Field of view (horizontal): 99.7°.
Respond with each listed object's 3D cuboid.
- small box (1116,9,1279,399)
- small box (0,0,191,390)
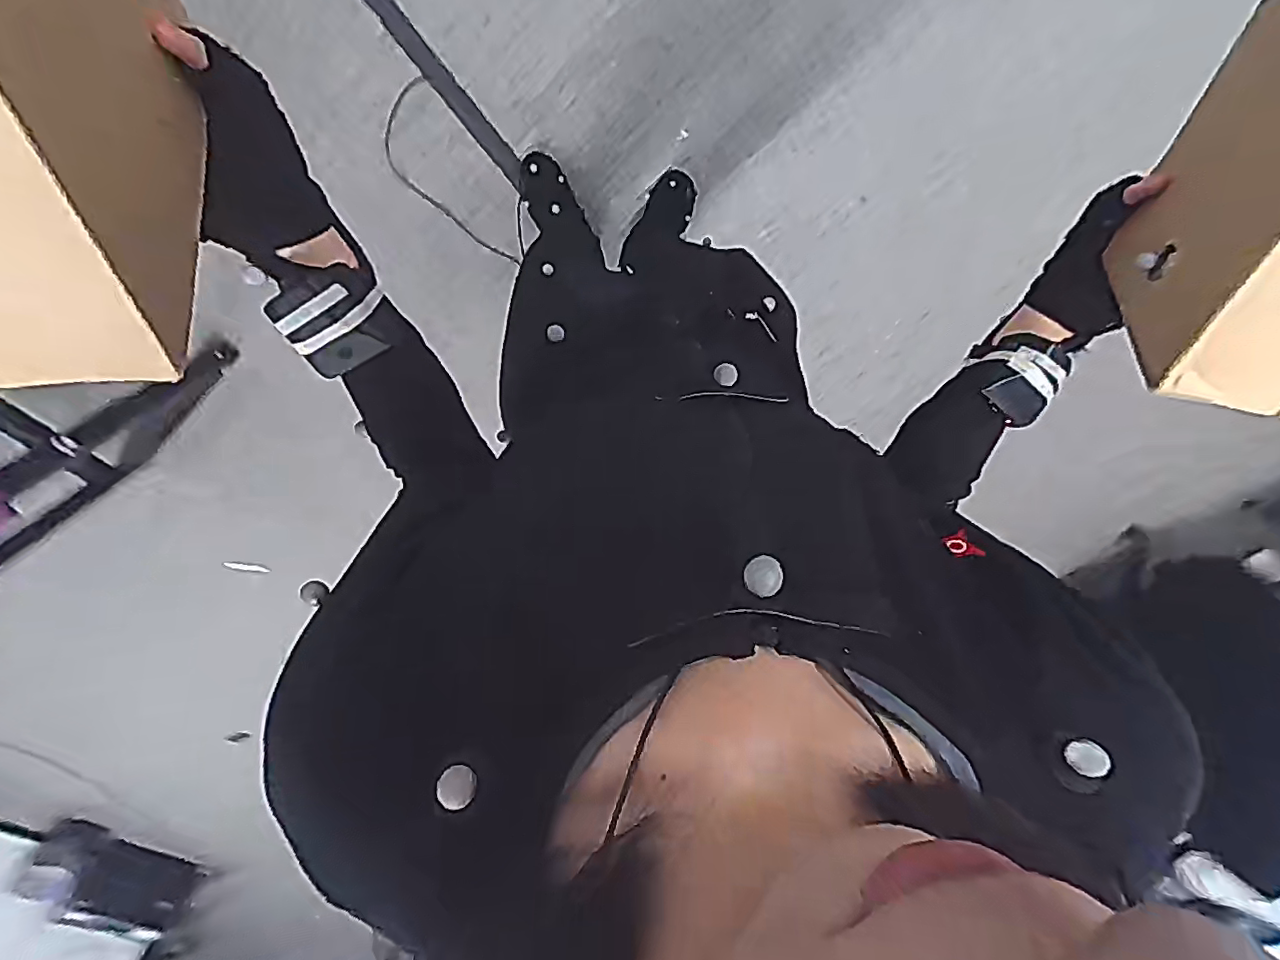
[{"bbox_3d":[0.398,-0.151,0.271,0.168,0.179,0.176,14,143,15],"label":"small box"},{"bbox_3d":[-0.260,-0.142,0.148,0.168,0.179,0.176,-6,154,-23],"label":"small box"}]
